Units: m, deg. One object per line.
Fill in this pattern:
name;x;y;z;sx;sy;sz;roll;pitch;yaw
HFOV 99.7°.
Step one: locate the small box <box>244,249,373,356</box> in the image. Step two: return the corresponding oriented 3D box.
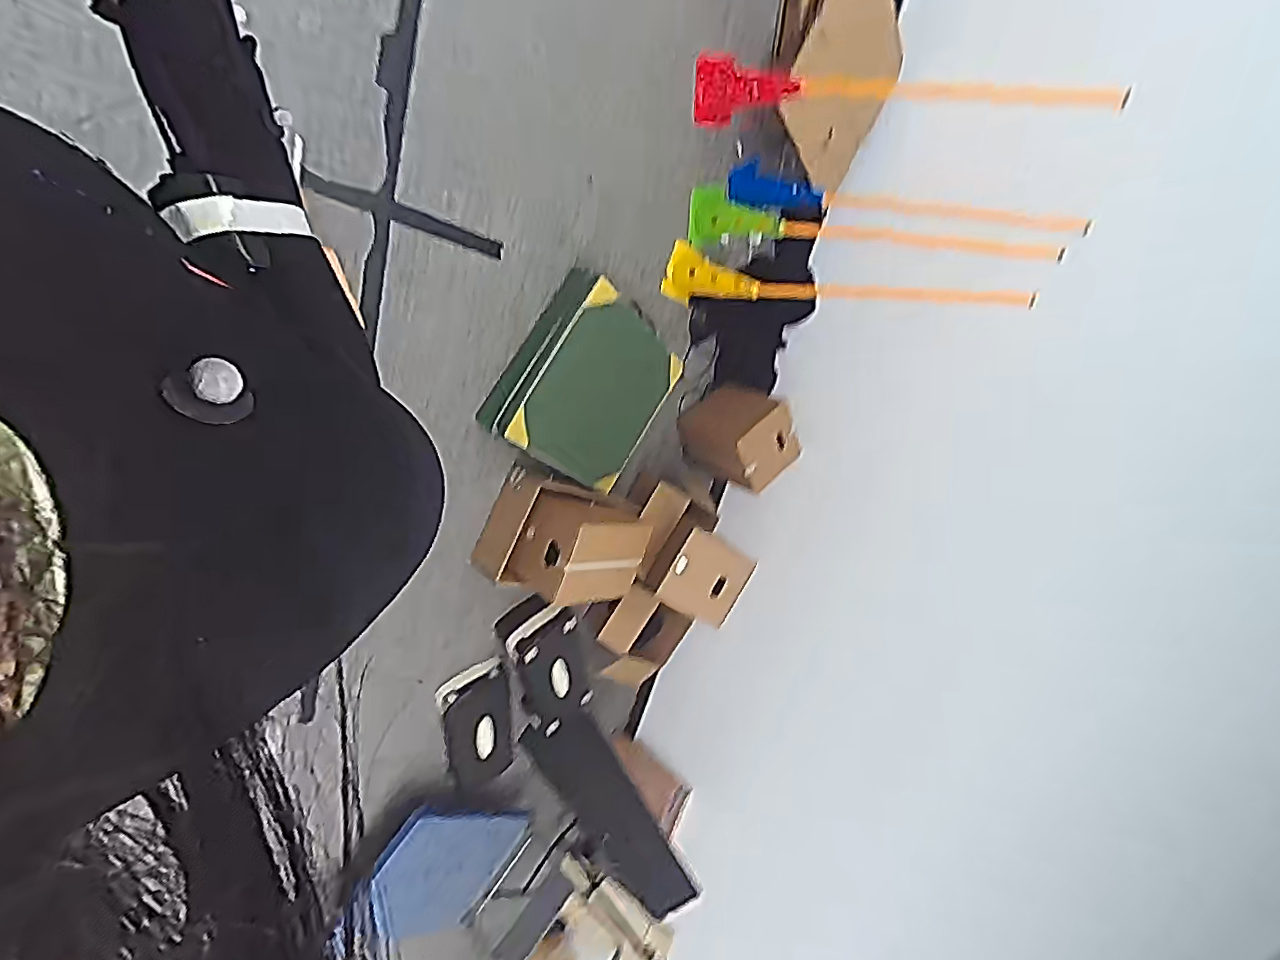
small box;-0.746;-0.407;1.217;0.168;0.176;0.179;-35;137;-29
